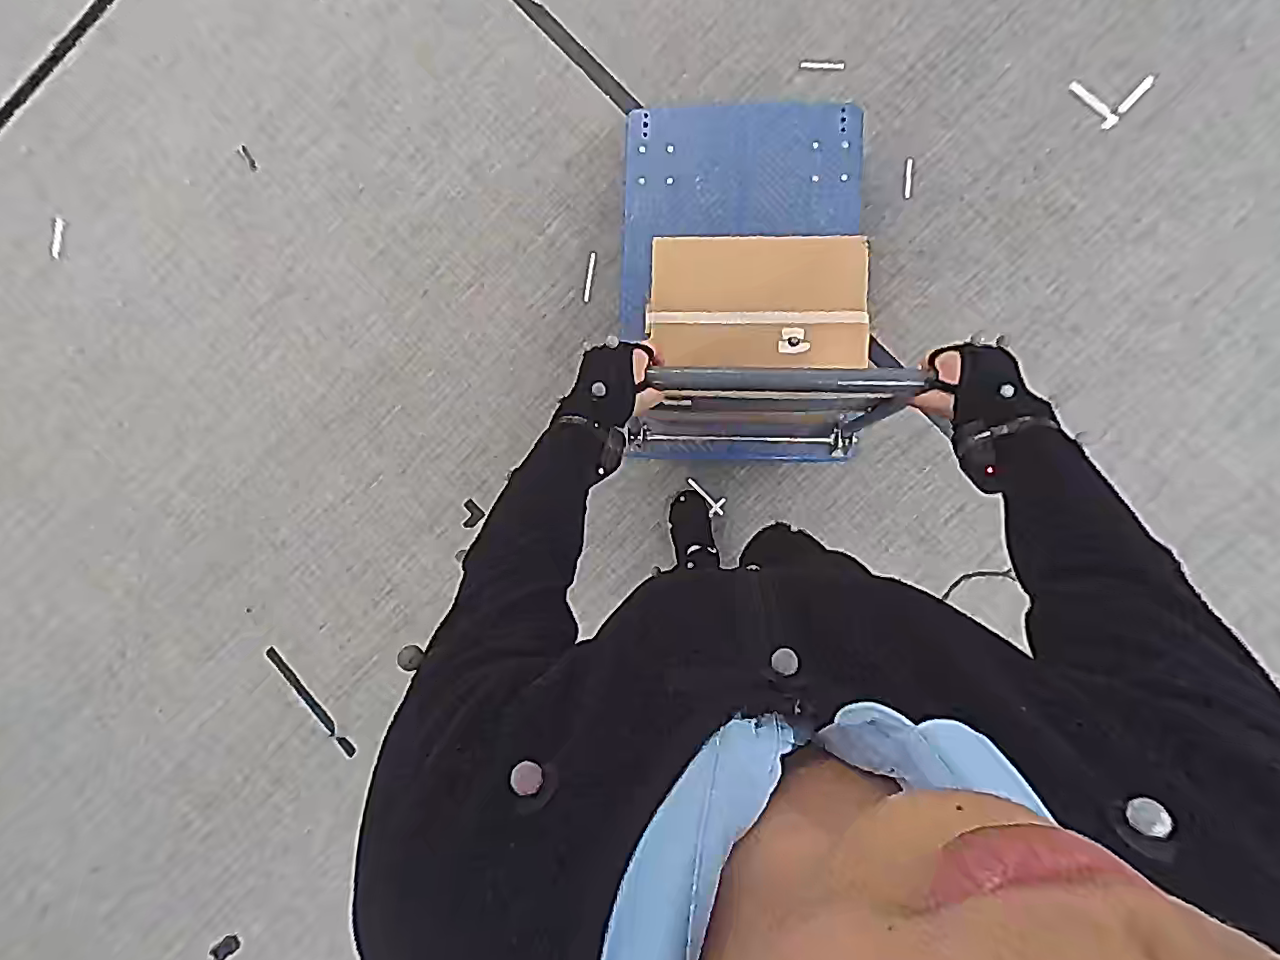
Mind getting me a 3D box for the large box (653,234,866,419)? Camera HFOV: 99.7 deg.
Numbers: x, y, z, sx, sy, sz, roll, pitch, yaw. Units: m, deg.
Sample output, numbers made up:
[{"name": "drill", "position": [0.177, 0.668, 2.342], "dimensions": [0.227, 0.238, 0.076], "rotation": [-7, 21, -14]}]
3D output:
[{"name": "large box", "position": [0.231, -0.307, 1.170], "dimensions": [0.408, 0.320, 0.320], "rotation": [1, 89, 3]}]
